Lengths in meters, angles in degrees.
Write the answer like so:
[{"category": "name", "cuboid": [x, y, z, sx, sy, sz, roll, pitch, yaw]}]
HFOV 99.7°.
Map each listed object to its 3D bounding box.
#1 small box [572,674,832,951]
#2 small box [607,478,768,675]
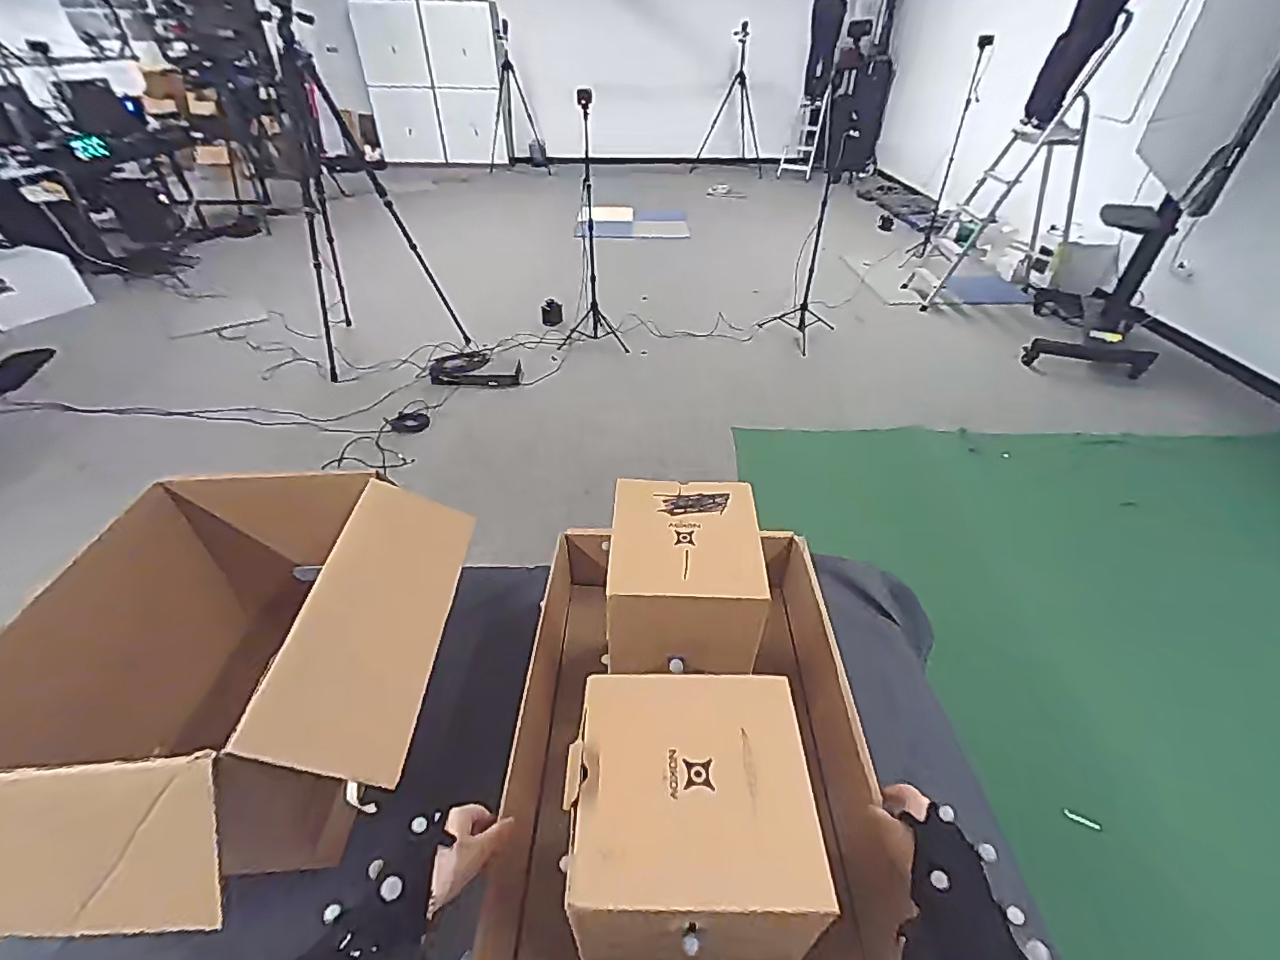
[{"category": "small box", "cuboid": [0.041, 0.286, 0.467, 0.179, 0.176, 0.168, 0, 41, -1]}, {"category": "small box", "cuboid": [0.050, 0.119, 0.658, 0.168, 0.176, 0.179, 2, 43, 1]}]
